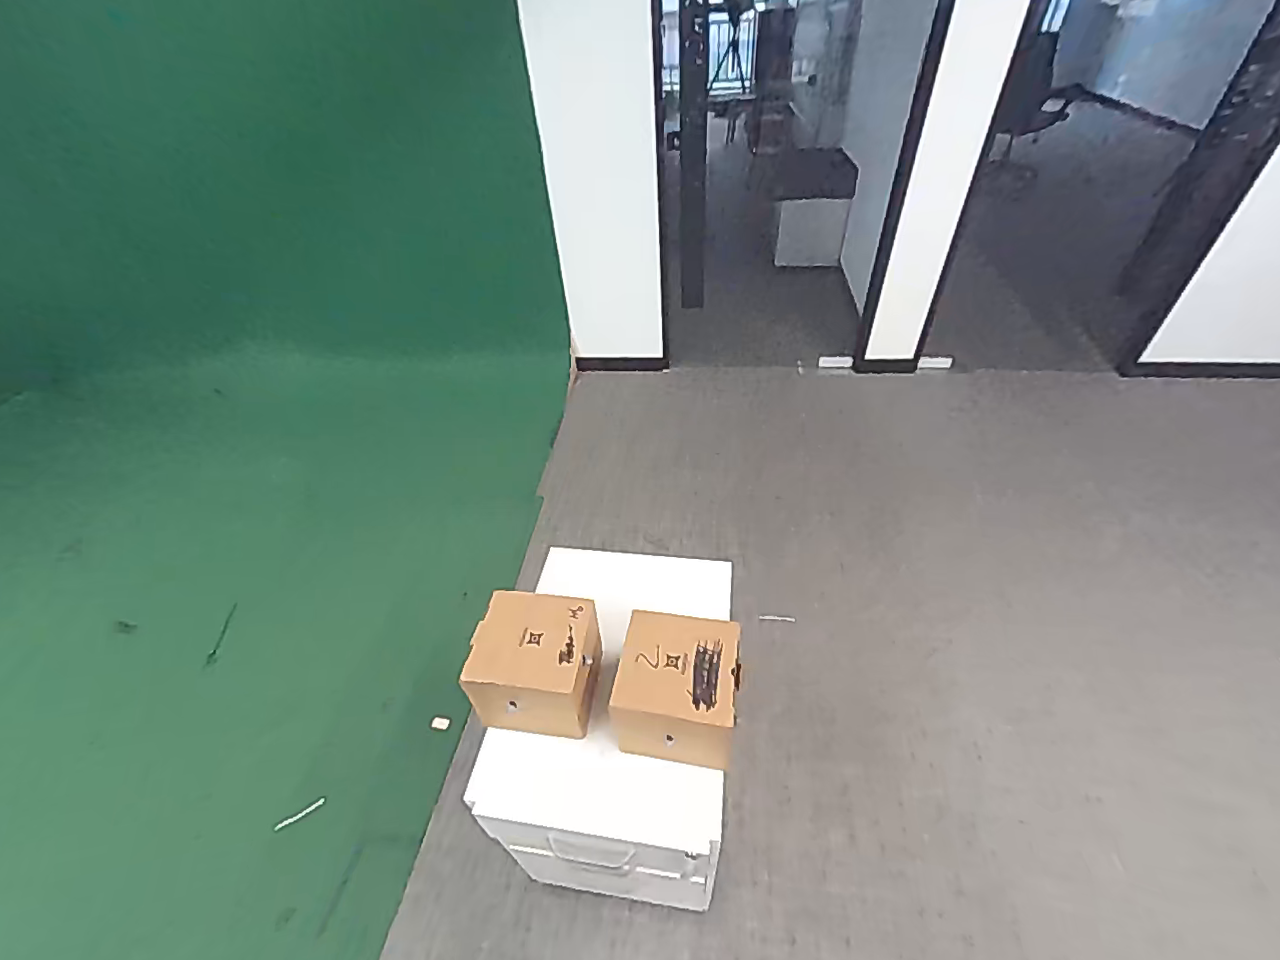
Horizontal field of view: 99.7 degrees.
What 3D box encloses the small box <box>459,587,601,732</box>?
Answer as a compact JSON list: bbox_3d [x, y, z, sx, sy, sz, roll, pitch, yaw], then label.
[{"bbox_3d":[-0.171,0.301,0.905,0.179,0.176,0.168,4,44,7],"label":"small box"}]
